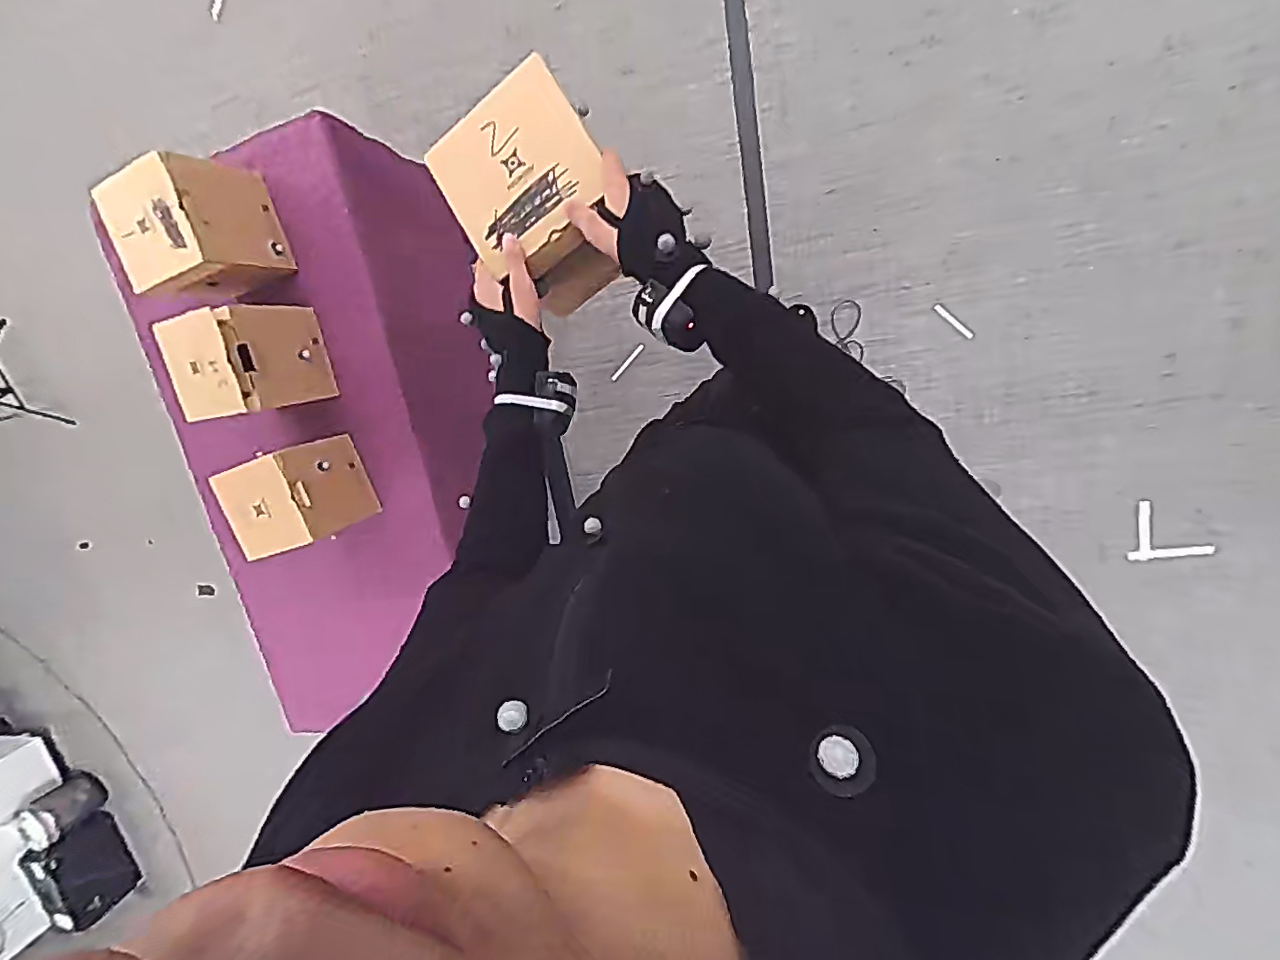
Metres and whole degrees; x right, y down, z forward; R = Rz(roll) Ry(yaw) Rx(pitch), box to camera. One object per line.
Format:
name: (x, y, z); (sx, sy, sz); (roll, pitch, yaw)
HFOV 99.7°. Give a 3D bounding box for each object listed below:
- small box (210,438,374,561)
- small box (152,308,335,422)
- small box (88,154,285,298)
small box: (-0.635, 0.030, 1.013); (0.179, 0.176, 0.168); (-15, 101, 20)
small box: (-0.687, -0.204, 0.955); (0.179, 0.176, 0.168); (-5, 105, 18)
small box: (-0.740, -0.412, 0.907); (0.179, 0.176, 0.168); (-11, 103, 20)
